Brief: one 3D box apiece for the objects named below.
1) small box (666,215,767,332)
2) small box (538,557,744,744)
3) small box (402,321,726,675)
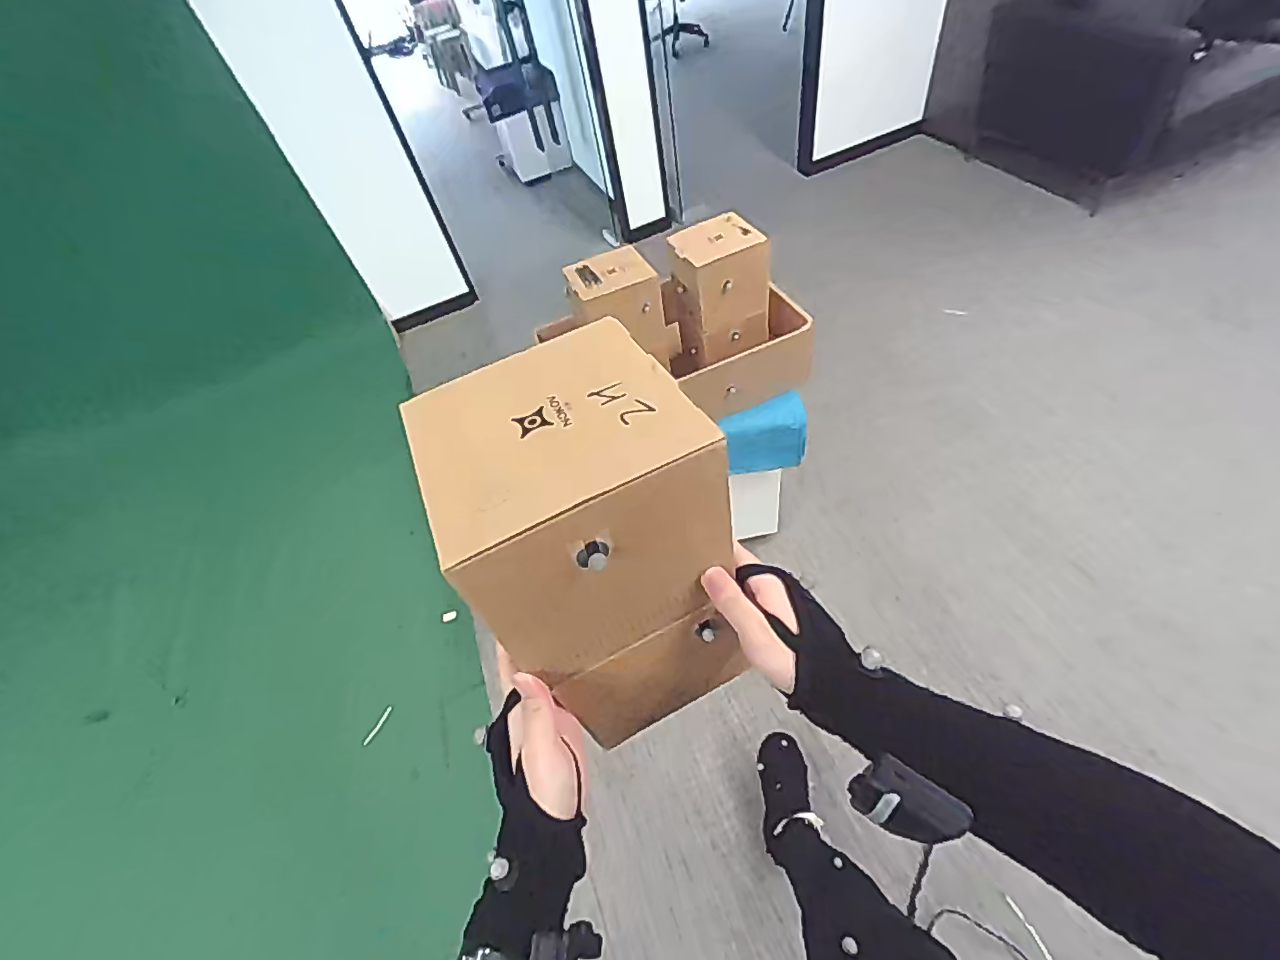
[{"bbox_3d":[0.181,-0.474,1.254,0.179,0.176,0.168,-25,51,-5],"label":"small box"},{"bbox_3d":[-0.013,0.126,0.535,0.179,0.176,0.168,-26,46,-9],"label":"small box"},{"bbox_3d":[-0.049,0.015,0.410,0.179,0.176,0.168,-25,48,-11],"label":"small box"}]
